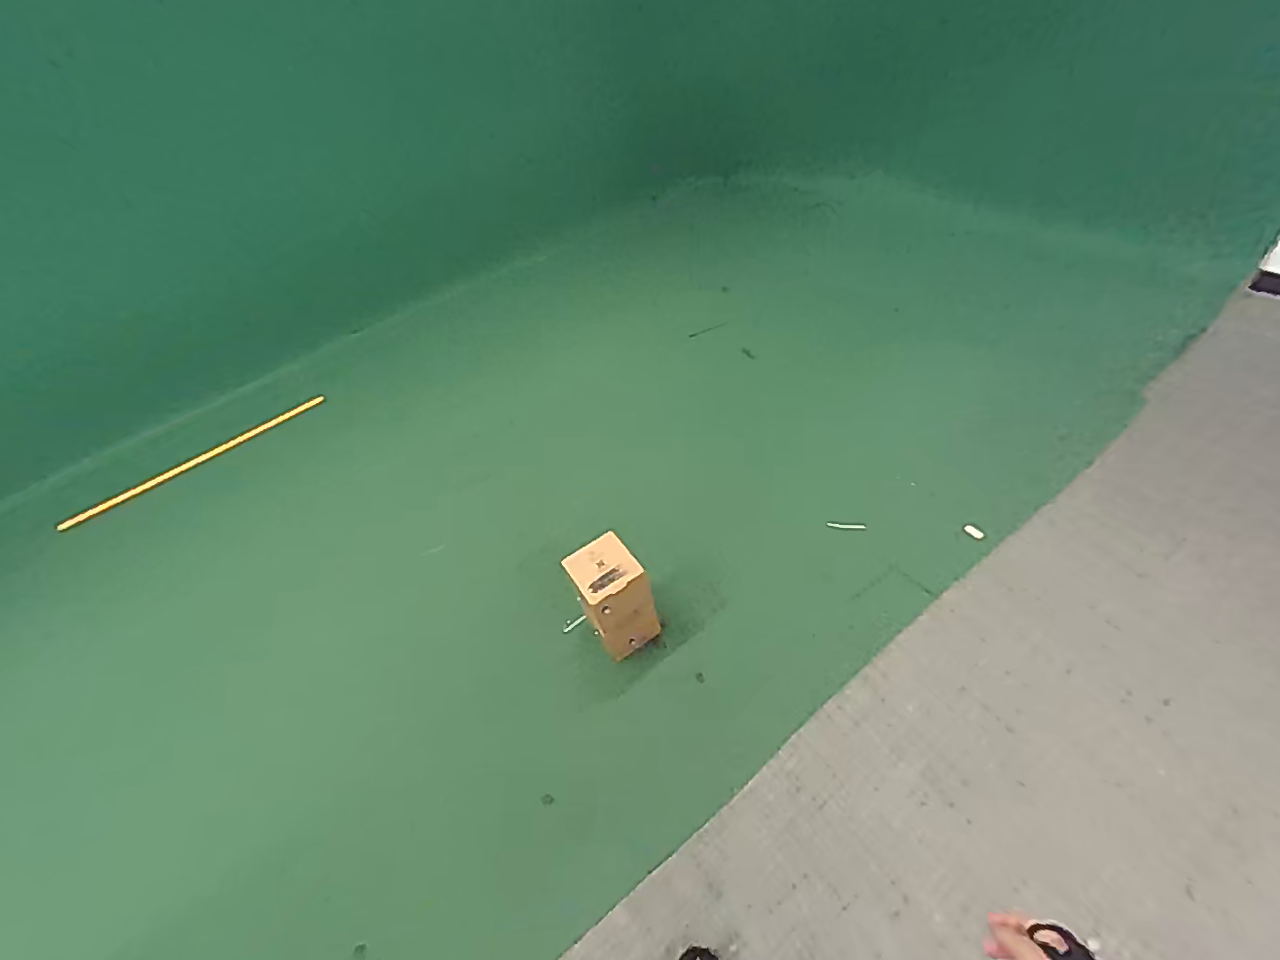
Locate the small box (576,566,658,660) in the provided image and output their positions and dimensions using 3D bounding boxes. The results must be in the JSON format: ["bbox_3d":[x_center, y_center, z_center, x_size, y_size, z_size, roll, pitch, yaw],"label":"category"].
[{"bbox_3d":[-0.065,0.397,1.605,0.168,0.176,0.179,-31,49,-16],"label":"small box"}]
